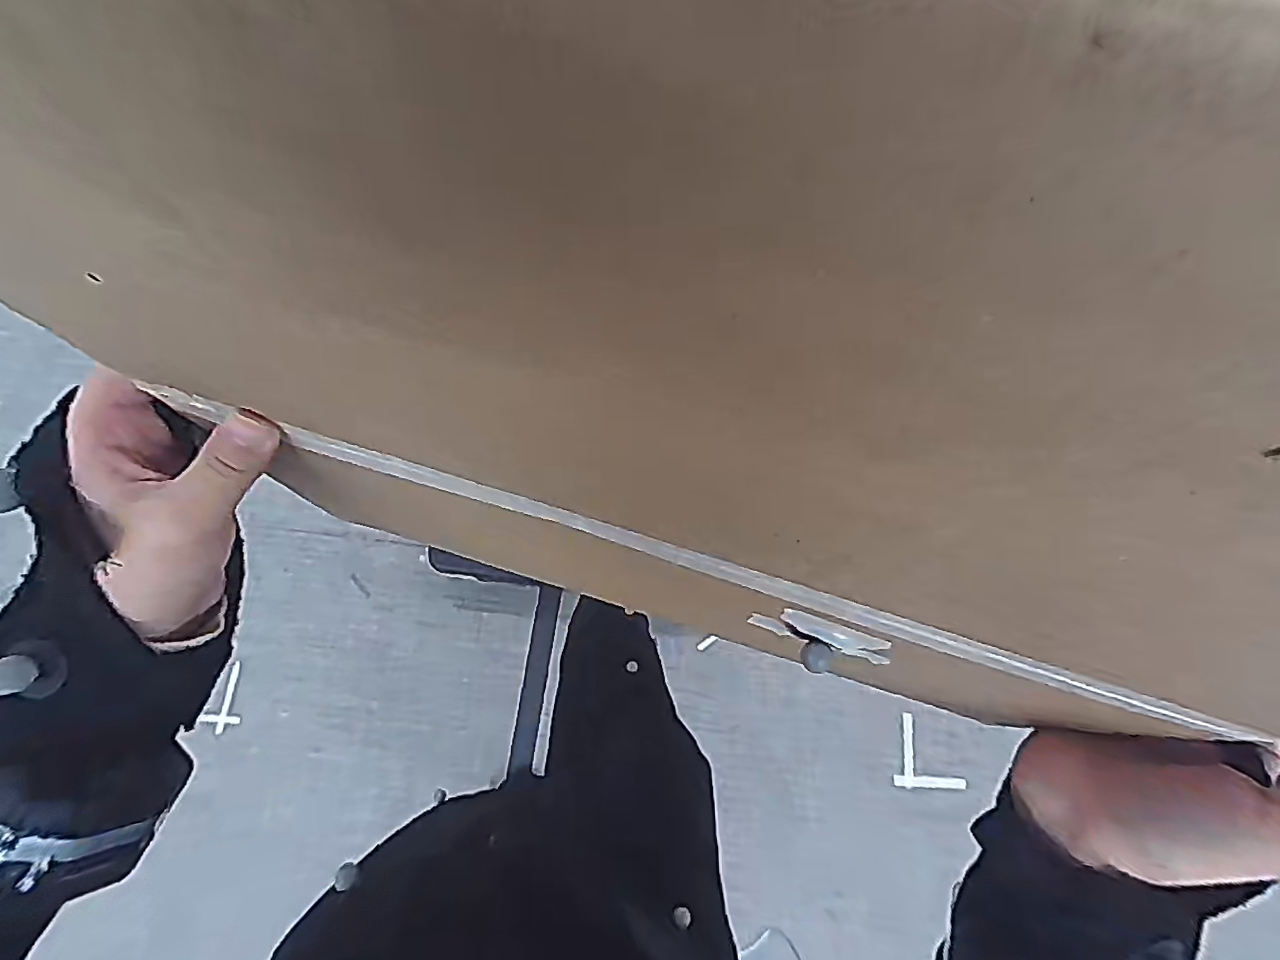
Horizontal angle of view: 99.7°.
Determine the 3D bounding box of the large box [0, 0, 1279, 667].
[{"bbox_3d":[0.069,-0.140,0.237,0.408,0.320,0.320,16,69,3],"label":"large box"}]
